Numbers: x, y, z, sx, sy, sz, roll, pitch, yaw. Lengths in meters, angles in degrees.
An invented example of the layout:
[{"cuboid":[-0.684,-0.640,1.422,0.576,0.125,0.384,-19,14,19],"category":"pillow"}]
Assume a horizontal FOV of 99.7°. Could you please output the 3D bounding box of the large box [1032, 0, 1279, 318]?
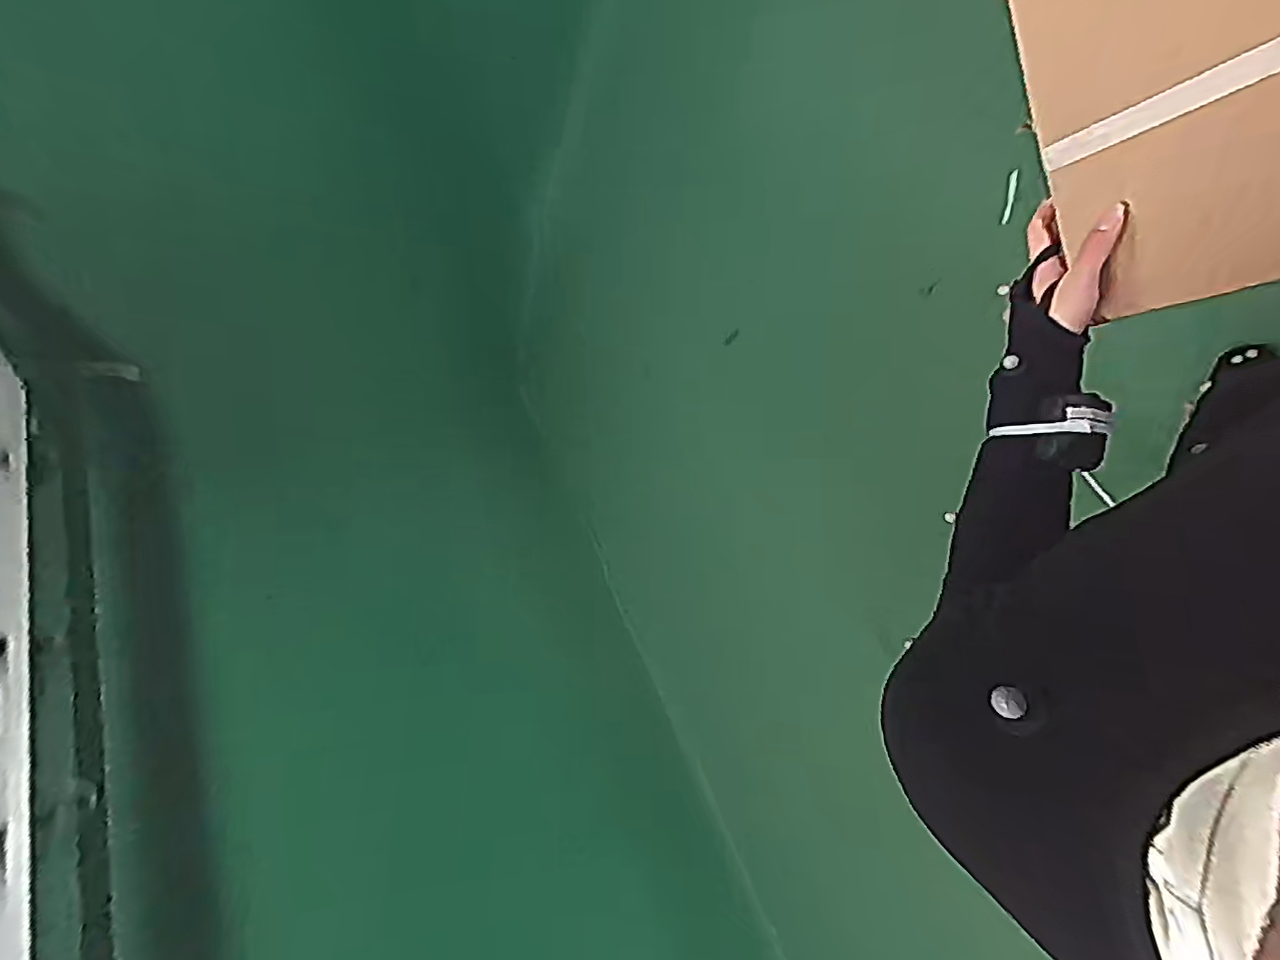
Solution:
[{"cuboid":[0.606,-0.362,0.415,0.408,0.320,0.320,-6,109,52],"category":"large box"}]
